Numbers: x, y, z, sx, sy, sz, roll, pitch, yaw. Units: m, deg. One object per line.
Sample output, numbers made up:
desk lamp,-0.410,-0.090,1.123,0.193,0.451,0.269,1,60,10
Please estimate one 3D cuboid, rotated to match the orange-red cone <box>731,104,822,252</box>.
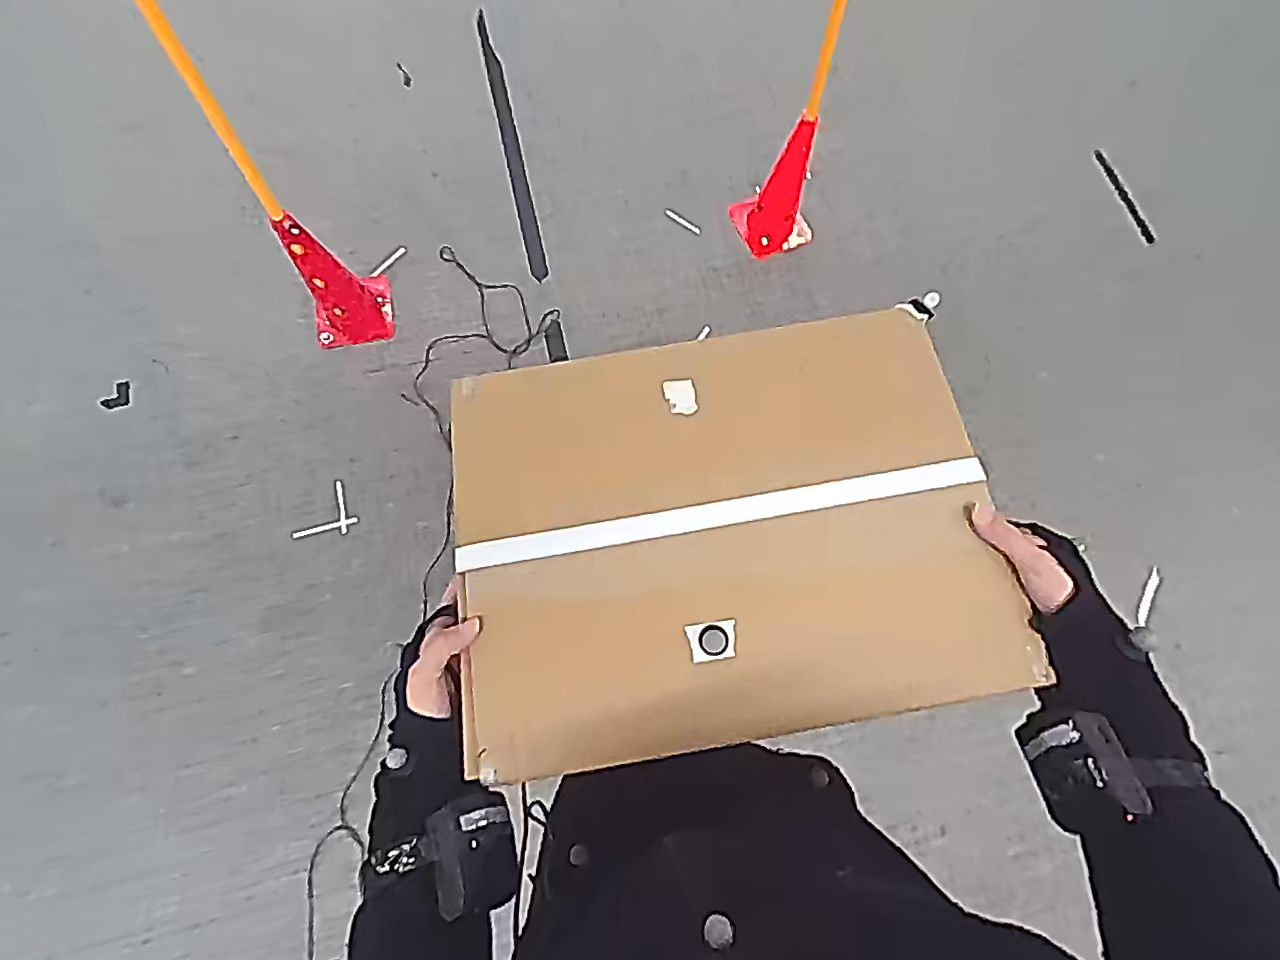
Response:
orange-red cone,0.396,-0.813,1.421,0.199,0.360,0.198,-22,78,-9
